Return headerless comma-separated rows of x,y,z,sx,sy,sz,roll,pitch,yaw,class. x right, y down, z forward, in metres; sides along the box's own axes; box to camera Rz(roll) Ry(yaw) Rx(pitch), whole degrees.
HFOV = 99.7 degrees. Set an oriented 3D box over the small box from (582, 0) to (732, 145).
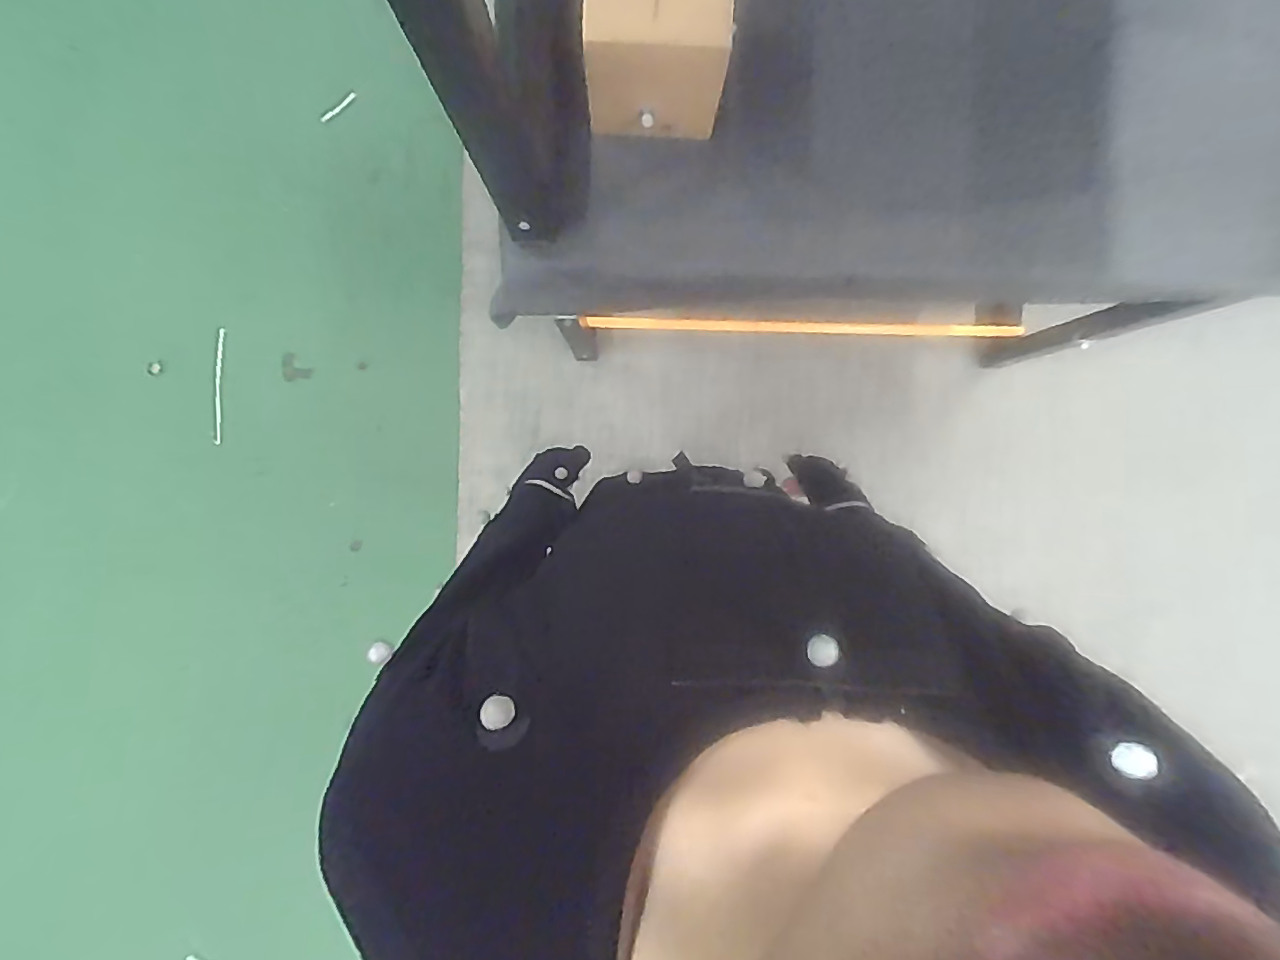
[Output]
0.019,-0.557,0.670,0.168,0.176,0.179,2,91,-1,small box
